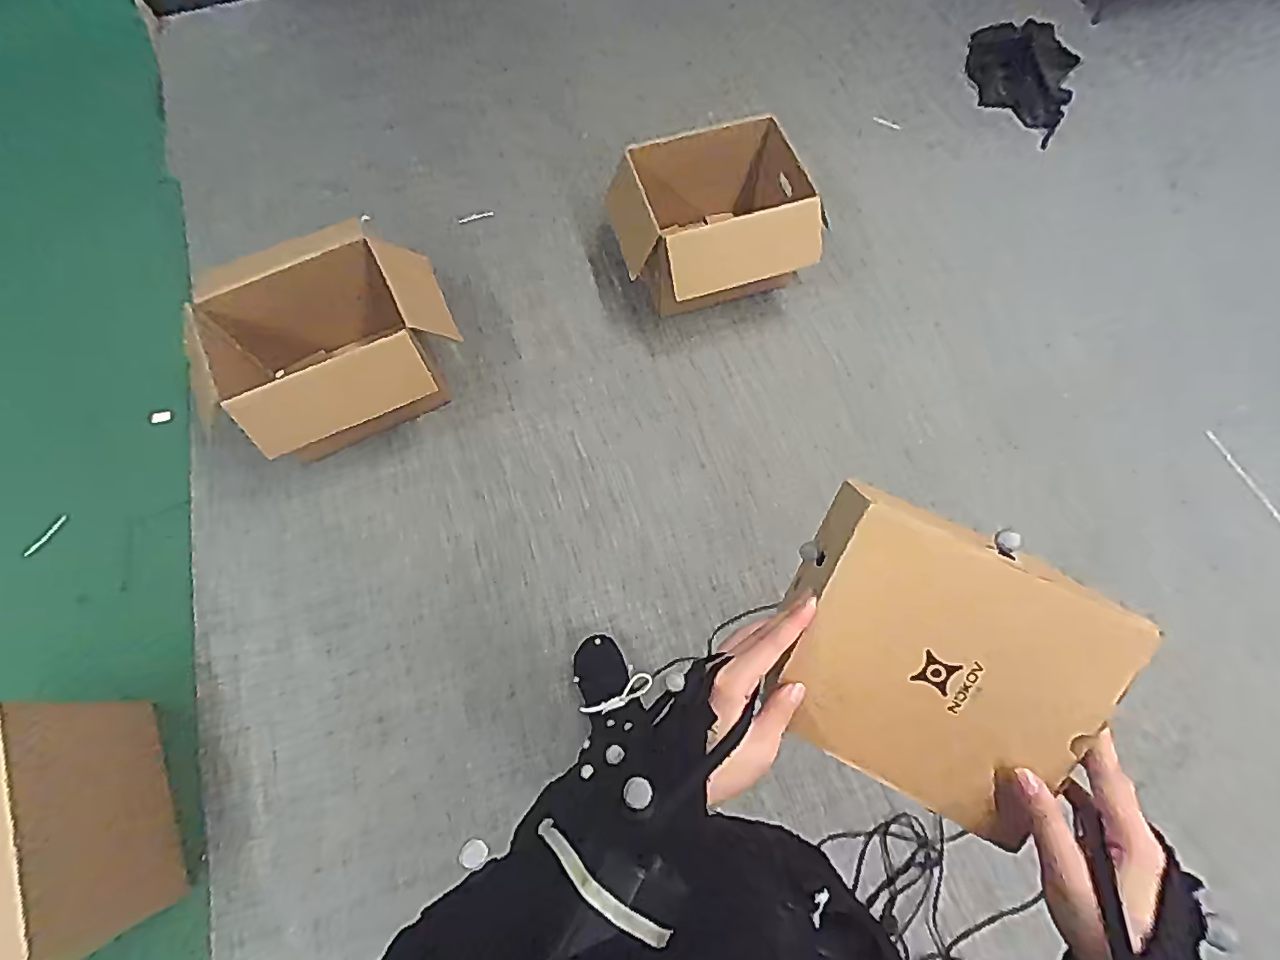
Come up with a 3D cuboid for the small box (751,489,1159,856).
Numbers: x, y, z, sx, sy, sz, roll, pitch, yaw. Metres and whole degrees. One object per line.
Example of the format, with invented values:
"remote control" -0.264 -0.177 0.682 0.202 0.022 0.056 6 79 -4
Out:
"small box" 0.200 0.114 0.407 0.179 0.176 0.168 26 100 11
